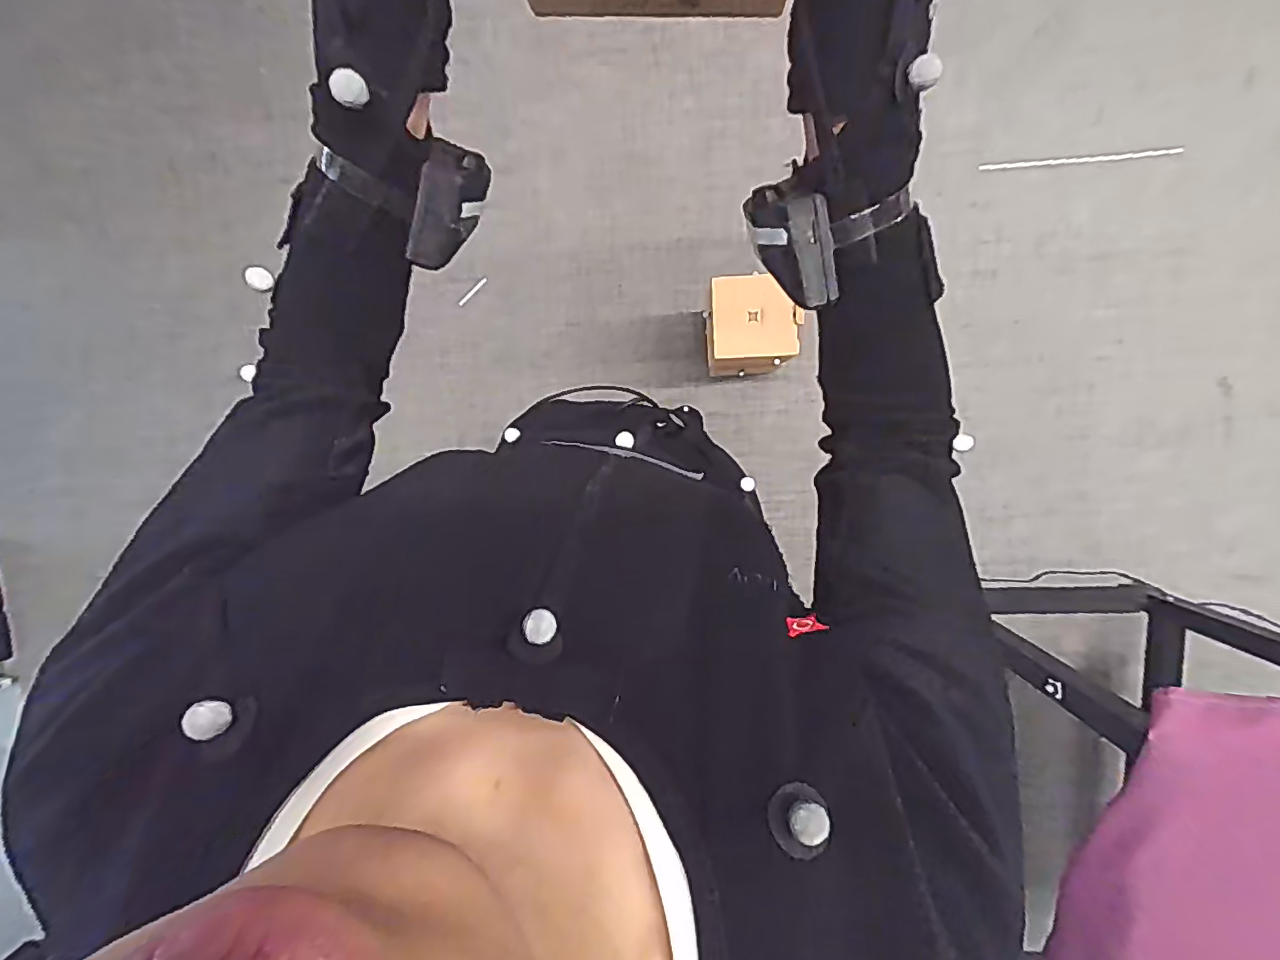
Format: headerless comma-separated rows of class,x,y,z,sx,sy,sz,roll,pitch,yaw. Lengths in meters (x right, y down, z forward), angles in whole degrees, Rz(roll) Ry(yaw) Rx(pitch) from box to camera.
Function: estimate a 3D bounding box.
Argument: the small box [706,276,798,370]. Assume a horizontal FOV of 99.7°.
small box,0.237,-0.335,1.181,0.179,0.176,0.168,-3,95,2
